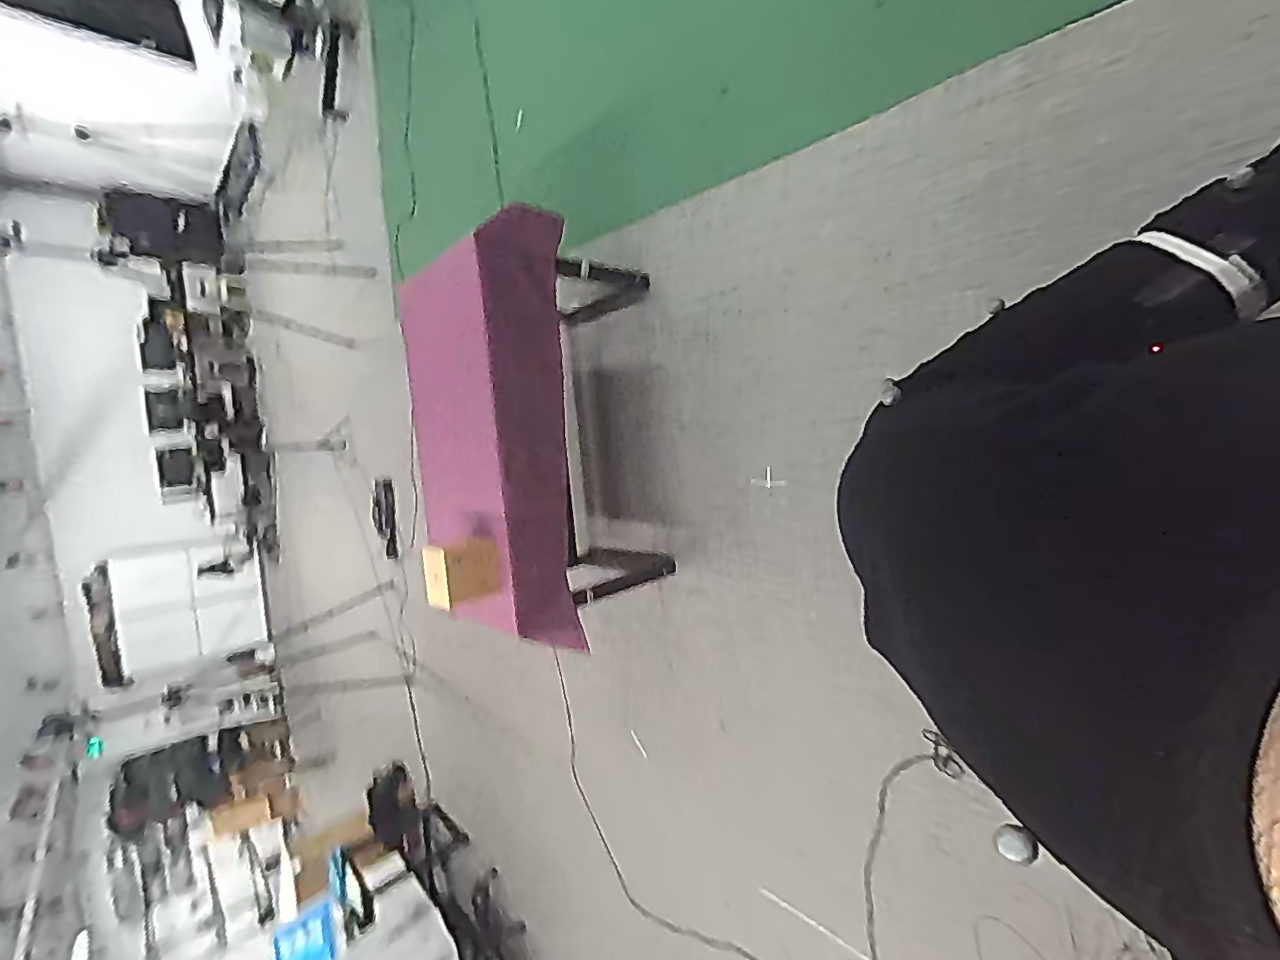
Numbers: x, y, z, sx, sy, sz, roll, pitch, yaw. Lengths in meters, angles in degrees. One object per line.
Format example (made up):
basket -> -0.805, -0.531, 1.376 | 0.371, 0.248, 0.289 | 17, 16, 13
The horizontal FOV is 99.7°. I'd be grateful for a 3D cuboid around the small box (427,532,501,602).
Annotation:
small box -> -0.547, 0.266, 1.691 | 0.168, 0.176, 0.179 | -3, 93, 47
